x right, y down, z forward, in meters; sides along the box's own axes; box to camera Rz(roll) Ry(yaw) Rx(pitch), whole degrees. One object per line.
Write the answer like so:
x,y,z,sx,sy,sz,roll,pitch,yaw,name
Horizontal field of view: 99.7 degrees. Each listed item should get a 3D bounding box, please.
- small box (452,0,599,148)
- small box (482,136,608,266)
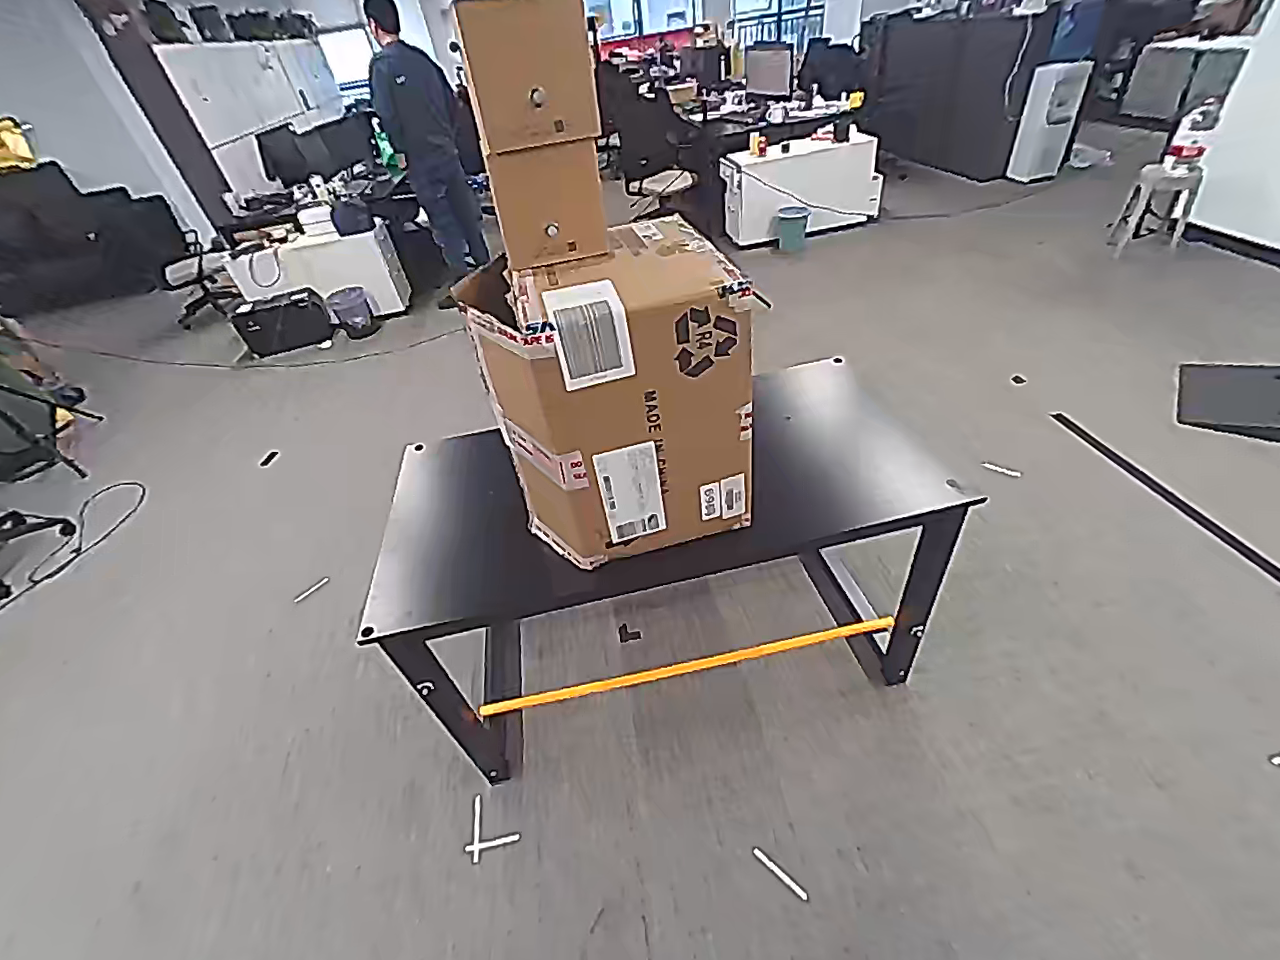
-0.167,-0.597,0.792,0.168,0.176,0.179,-16,39,-9,small box
-0.158,-0.472,0.900,0.168,0.176,0.179,-14,39,-8,small box
